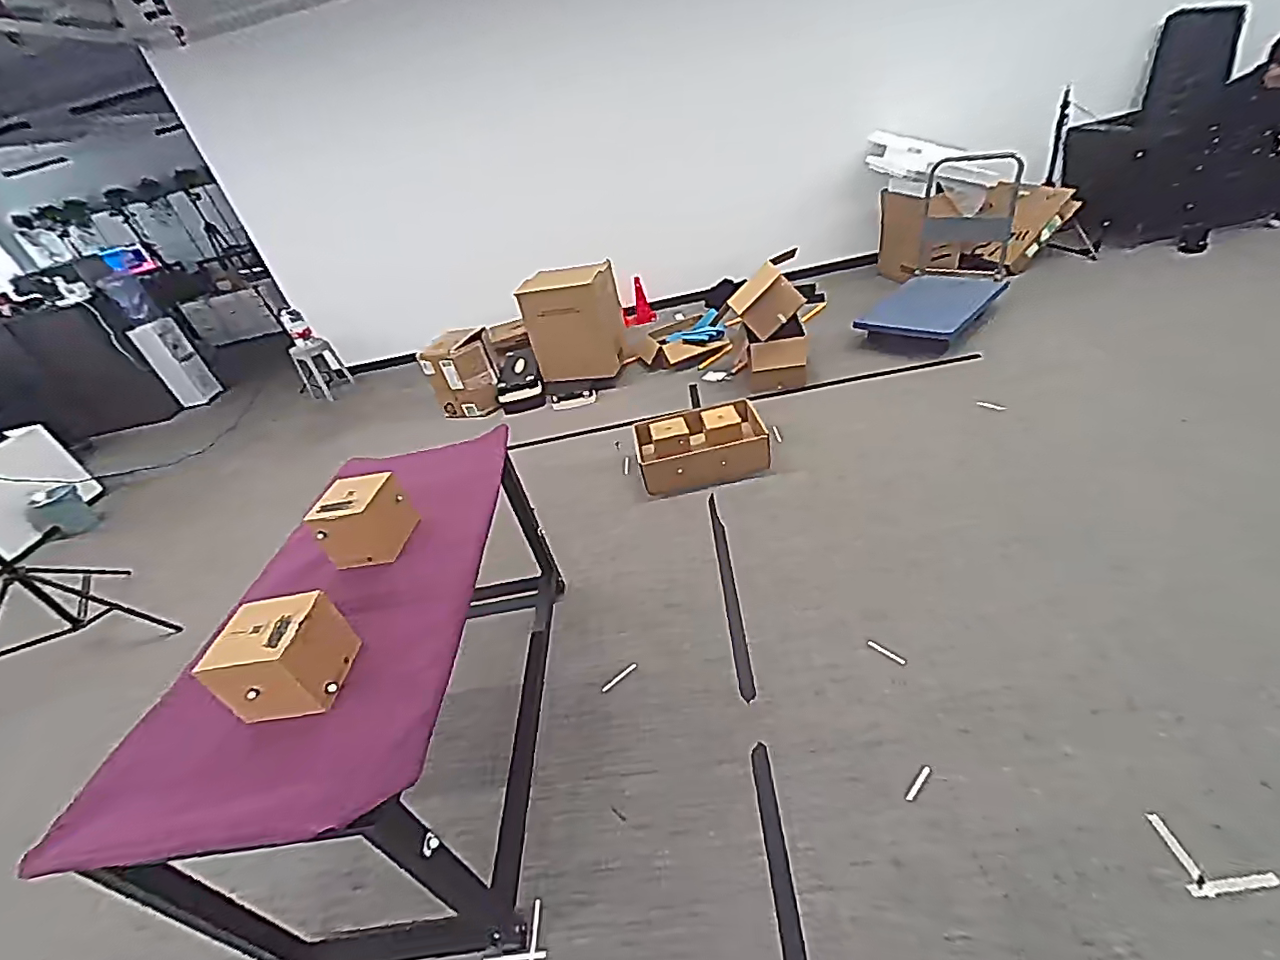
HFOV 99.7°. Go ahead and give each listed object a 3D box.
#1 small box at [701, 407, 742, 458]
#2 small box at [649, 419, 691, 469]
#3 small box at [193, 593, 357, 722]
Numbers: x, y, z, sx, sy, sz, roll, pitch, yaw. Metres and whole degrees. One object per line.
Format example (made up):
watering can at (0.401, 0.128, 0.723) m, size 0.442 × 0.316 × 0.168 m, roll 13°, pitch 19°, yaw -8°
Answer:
small box at (0.404, -0.235, 2.688) m, size 0.168 × 0.176 × 0.179 m, roll -14°, pitch 35°, yaw 3°
small box at (0.151, -0.178, 2.695) m, size 0.179 × 0.176 × 0.168 m, roll -13°, pitch 34°, yaw 0°
small box at (-0.699, 0.349, 1.065) m, size 0.179 × 0.176 × 0.168 m, roll -11°, pitch 34°, yaw 6°
